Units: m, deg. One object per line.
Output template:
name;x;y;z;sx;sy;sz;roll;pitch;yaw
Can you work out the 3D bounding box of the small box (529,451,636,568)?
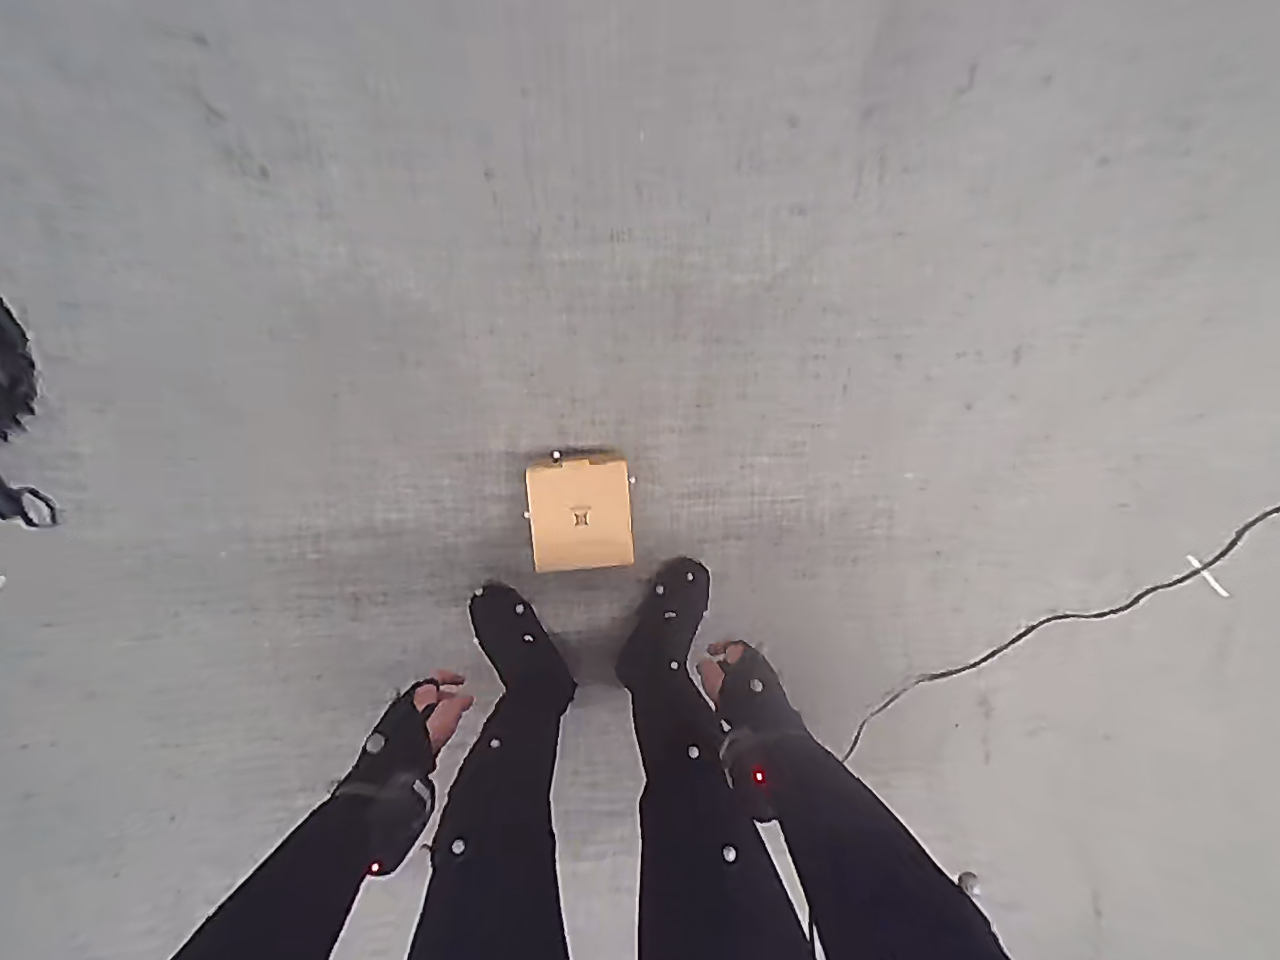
small box;-0.100;0.043;0.972;0.168;0.176;0.179;-6;99;-2
